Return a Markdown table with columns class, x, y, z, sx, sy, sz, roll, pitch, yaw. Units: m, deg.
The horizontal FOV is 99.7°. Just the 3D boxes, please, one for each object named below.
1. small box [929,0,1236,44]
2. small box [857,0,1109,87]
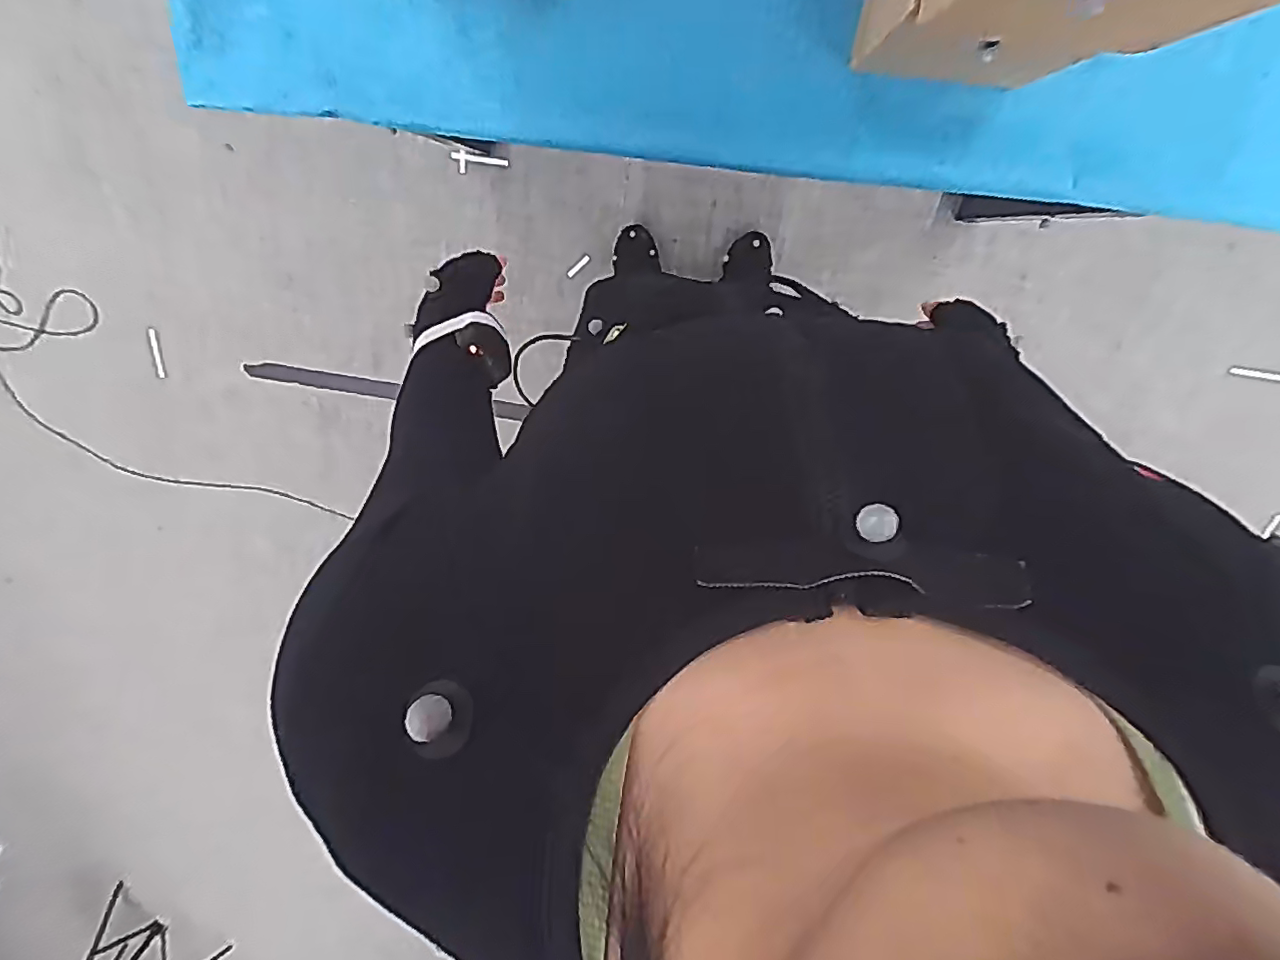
| class | x | y | z | sx | sy | sz | roll | pitch | yaw |
| --- | --- | --- | --- | --- | --- | --- | --- | --- | --- |
| small box | 0.295 | -0.369 | 0.300 | 0.179 | 0.176 | 0.168 | 4 | 116 | 2 |
| small box | 0.301 | -0.446 | 0.443 | 0.179 | 0.176 | 0.168 | 8 | 116 | 1 |
